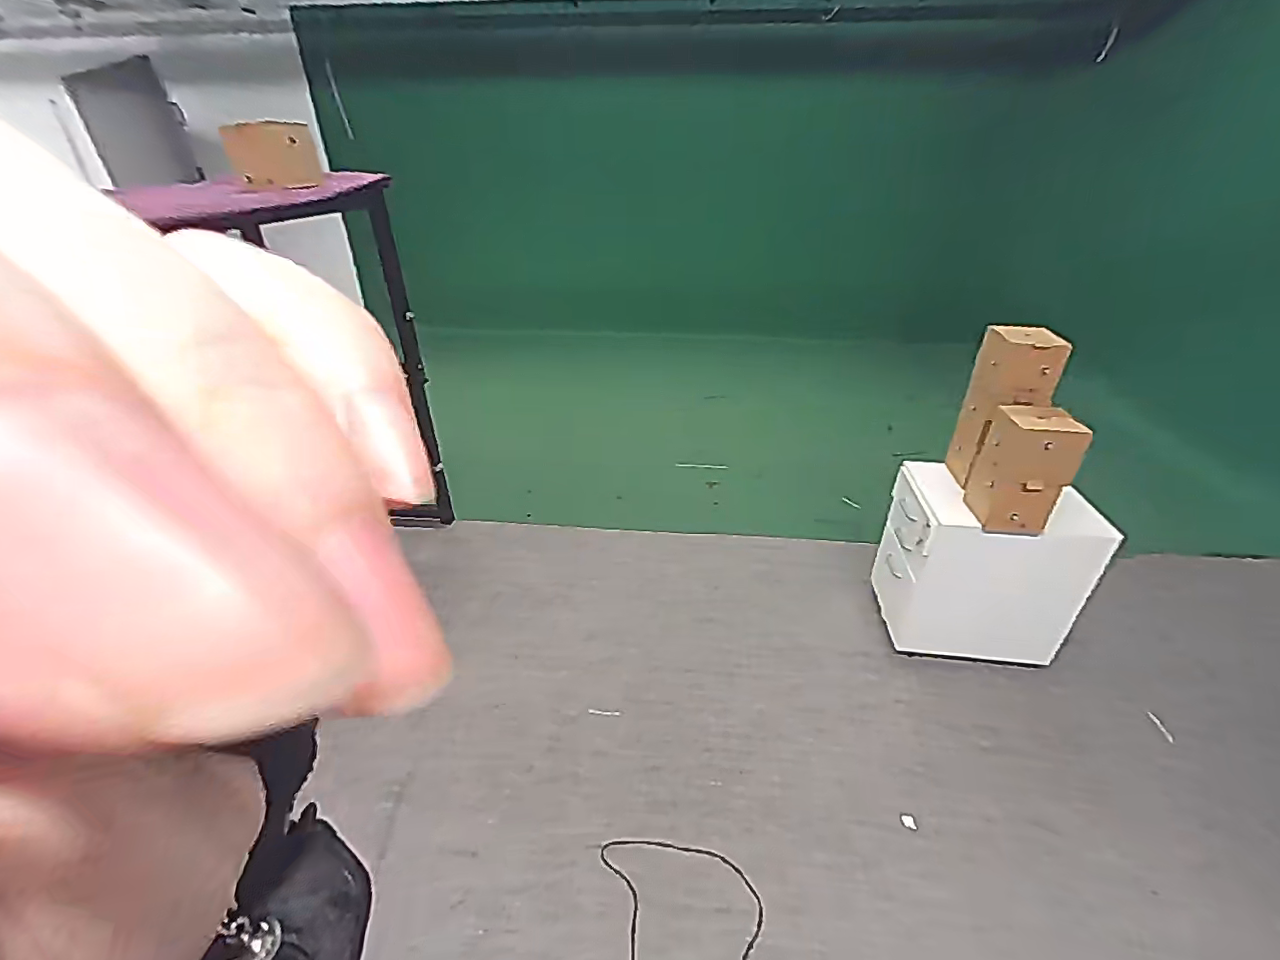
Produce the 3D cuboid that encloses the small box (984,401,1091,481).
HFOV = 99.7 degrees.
[{"bbox_3d":[1.106,-0.110,1.529,0.179,0.176,0.168,5,32,7],"label":"small box"}]

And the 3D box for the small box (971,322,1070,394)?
[{"bbox_3d":[1.143,-0.370,1.639,0.168,0.176,0.179,5,32,6],"label":"small box"}]

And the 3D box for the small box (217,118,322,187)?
[{"bbox_3d":[-1.099,-0.979,1.623,0.168,0.176,0.179,1,32,7],"label":"small box"}]

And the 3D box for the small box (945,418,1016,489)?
[{"bbox_3d":[1.153,-0.090,1.810,0.168,0.176,0.179,3,33,6],"label":"small box"}]
